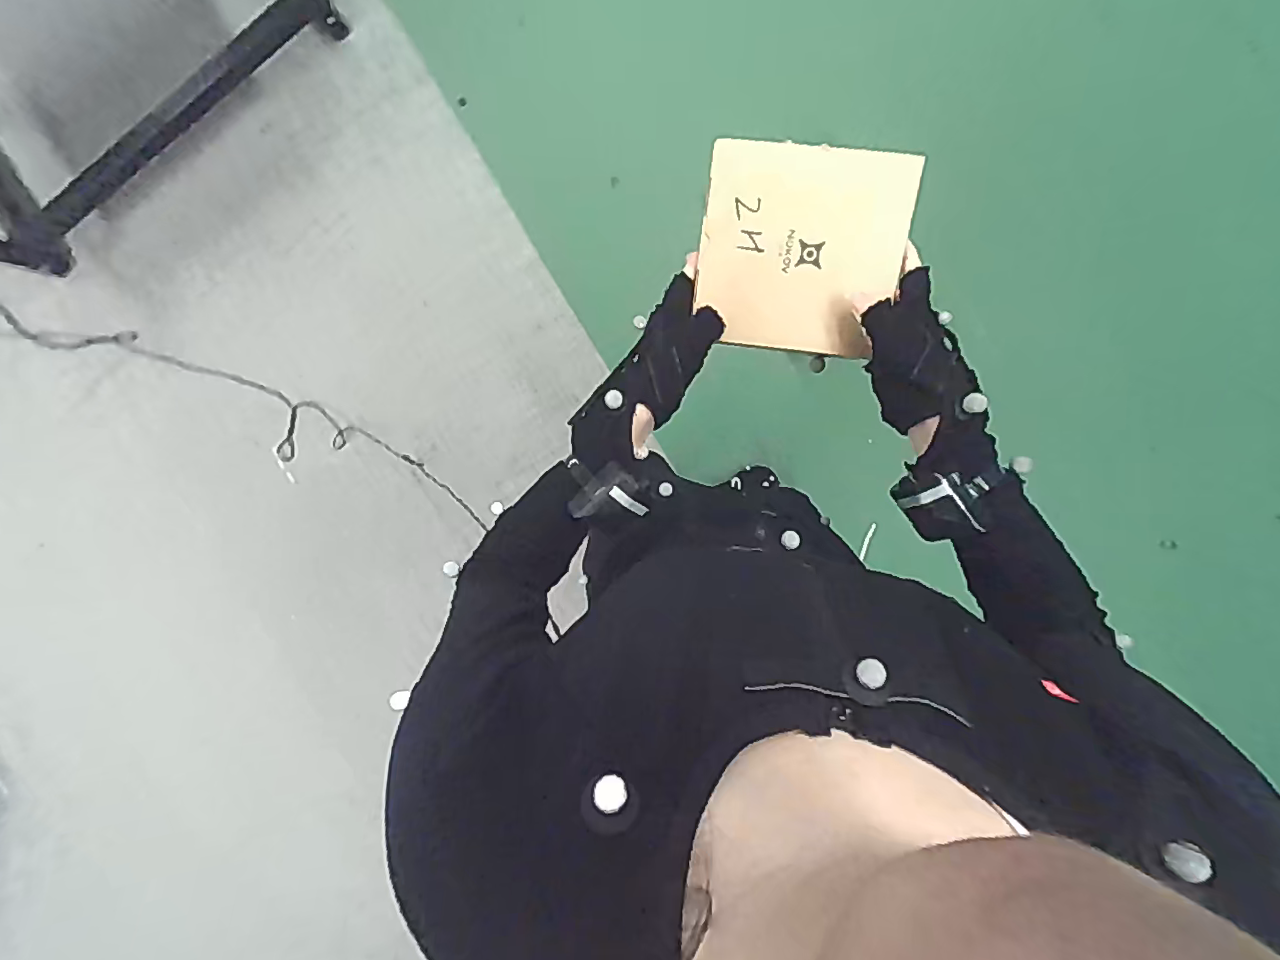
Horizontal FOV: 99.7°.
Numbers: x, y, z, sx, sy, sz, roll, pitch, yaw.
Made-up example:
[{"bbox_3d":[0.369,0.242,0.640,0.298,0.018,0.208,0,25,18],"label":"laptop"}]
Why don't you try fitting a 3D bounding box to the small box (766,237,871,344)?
[{"bbox_3d":[0.436,-0.463,1.351,0.179,0.176,0.168,-32,91,8],"label":"small box"}]
